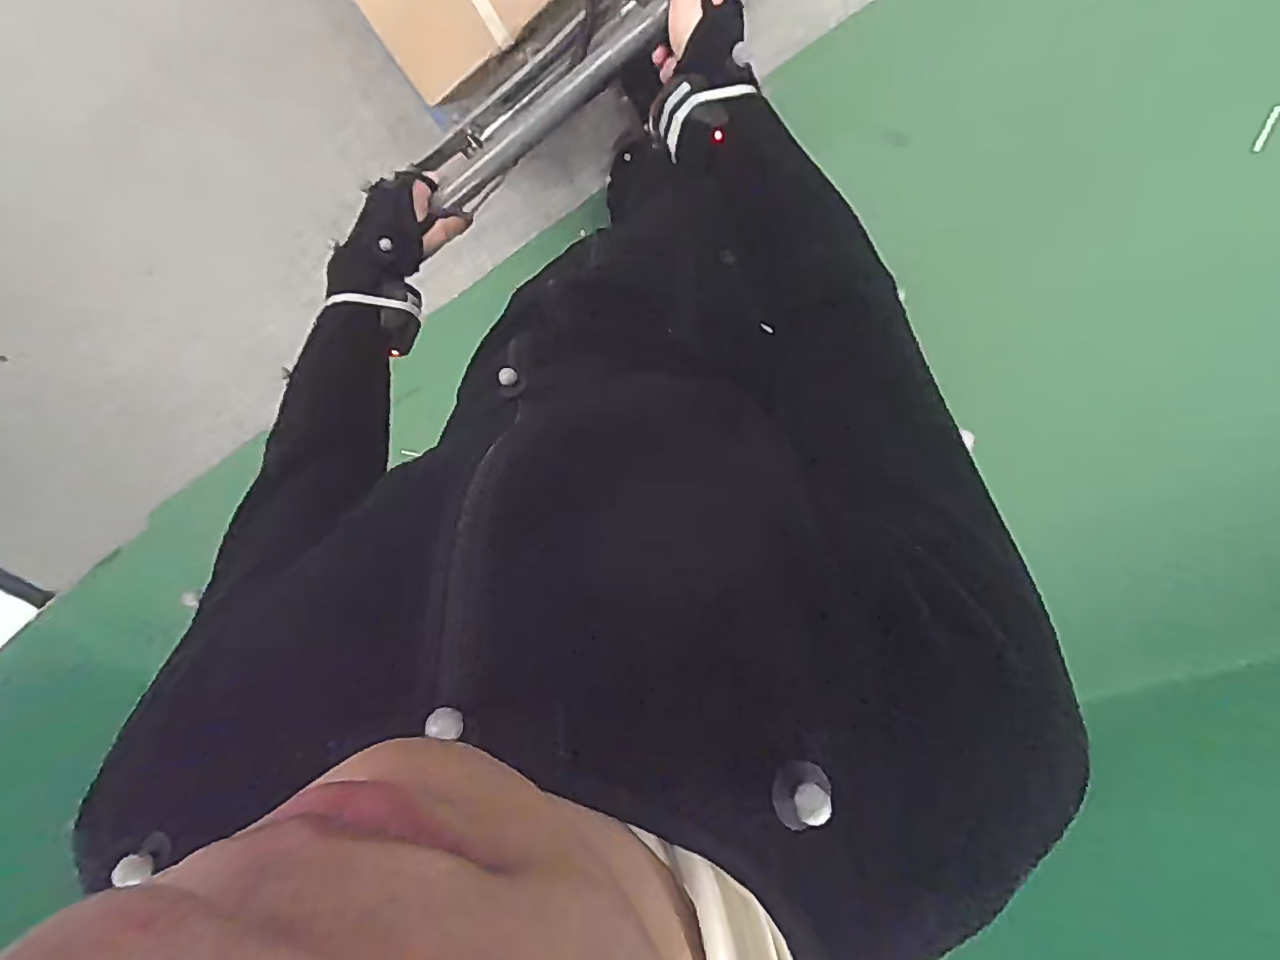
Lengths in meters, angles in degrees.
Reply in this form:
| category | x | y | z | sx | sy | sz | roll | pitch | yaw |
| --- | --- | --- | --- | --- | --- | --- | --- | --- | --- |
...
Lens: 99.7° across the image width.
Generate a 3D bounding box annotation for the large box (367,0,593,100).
| category | x | y | z | sx | sy | sz | roll | pitch | yaw |
| --- | --- | --- | --- | --- | --- | --- | --- | --- | --- |
| large box | -0.287 | -0.884 | 0.819 | 0.320 | 0.320 | 0.408 | -24 | 123 | 21 |
